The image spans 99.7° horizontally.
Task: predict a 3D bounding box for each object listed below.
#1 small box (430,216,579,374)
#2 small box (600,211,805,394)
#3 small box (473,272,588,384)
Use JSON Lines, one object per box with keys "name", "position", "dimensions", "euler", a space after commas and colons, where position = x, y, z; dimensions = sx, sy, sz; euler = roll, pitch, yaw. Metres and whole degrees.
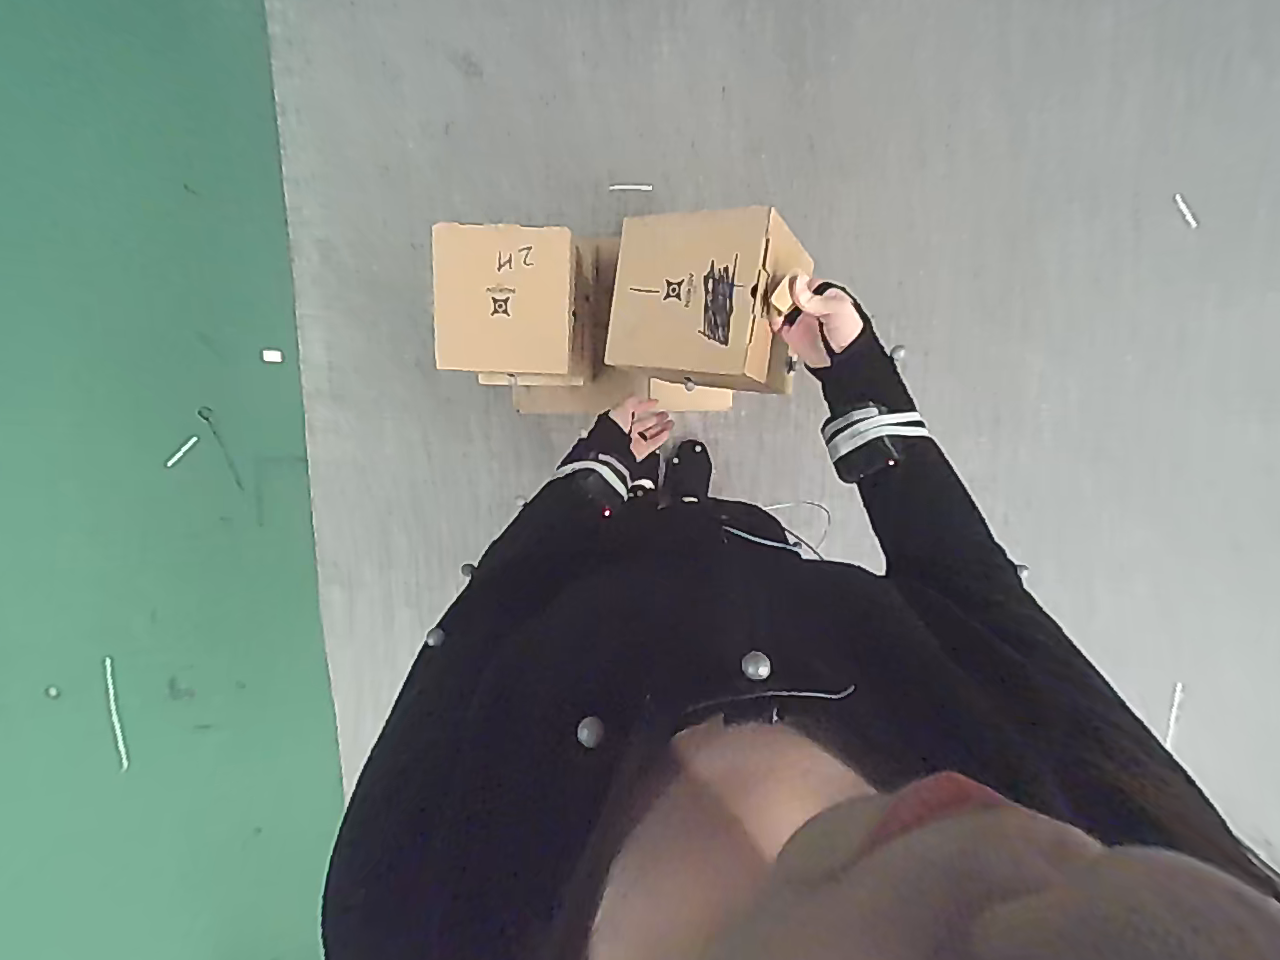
{"name": "small box", "position": [-0.173, -0.237, 0.733], "dimensions": [0.168, 0.176, 0.179], "euler": [3, 100, -2]}
{"name": "small box", "position": [0.081, -0.199, 0.638], "dimensions": [0.179, 0.176, 0.168], "euler": [13, 97, 30]}
{"name": "small box", "position": [-0.174, -0.253, 0.897], "dimensions": [0.168, 0.176, 0.179], "euler": [1, 100, -1]}
